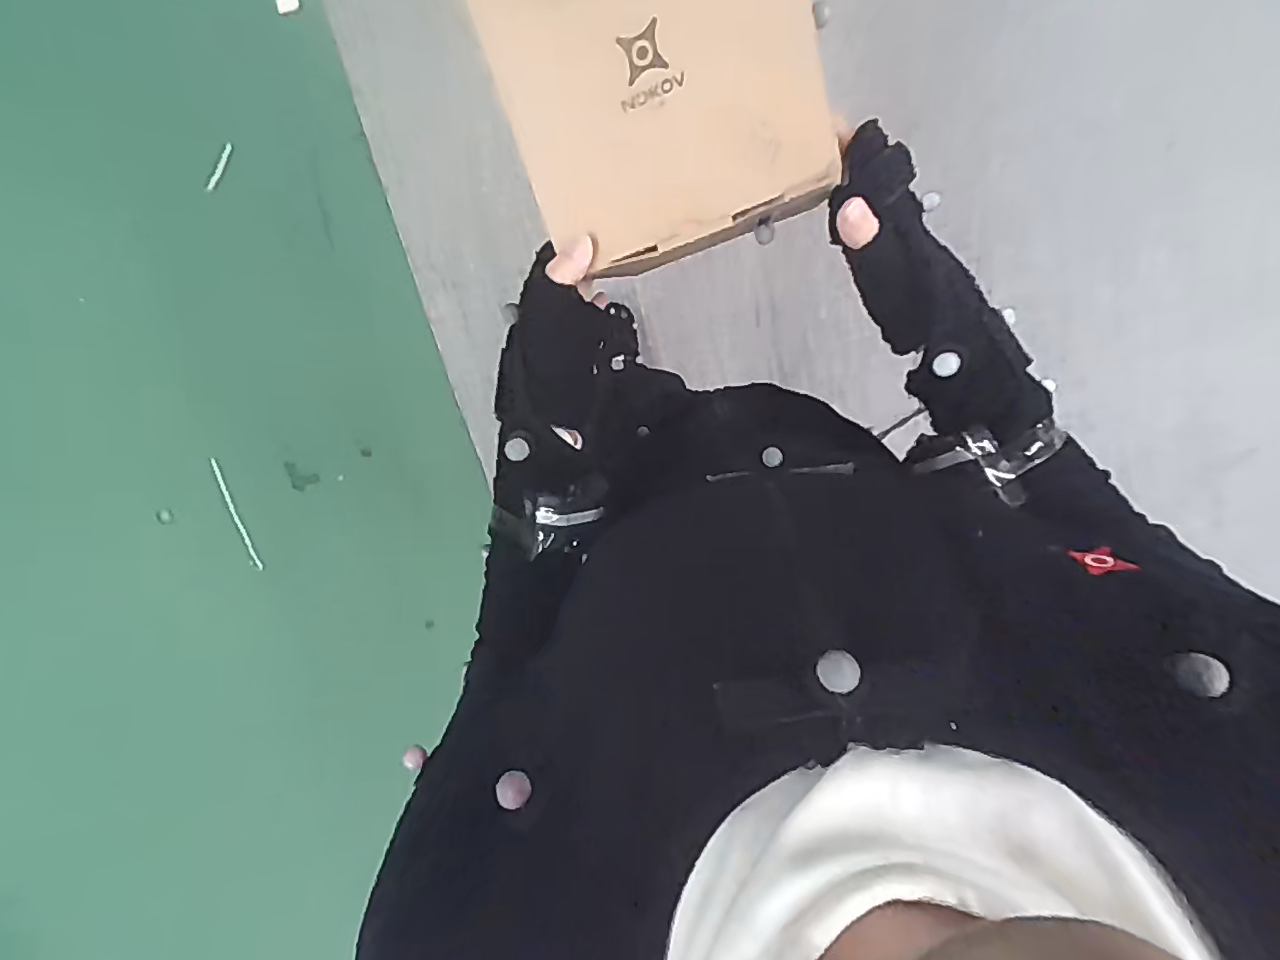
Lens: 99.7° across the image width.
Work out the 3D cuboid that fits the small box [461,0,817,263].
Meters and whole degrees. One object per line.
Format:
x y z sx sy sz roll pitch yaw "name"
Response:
0.012 -0.254 0.351 0.168 0.176 0.179 -12 107 17 "small box"
